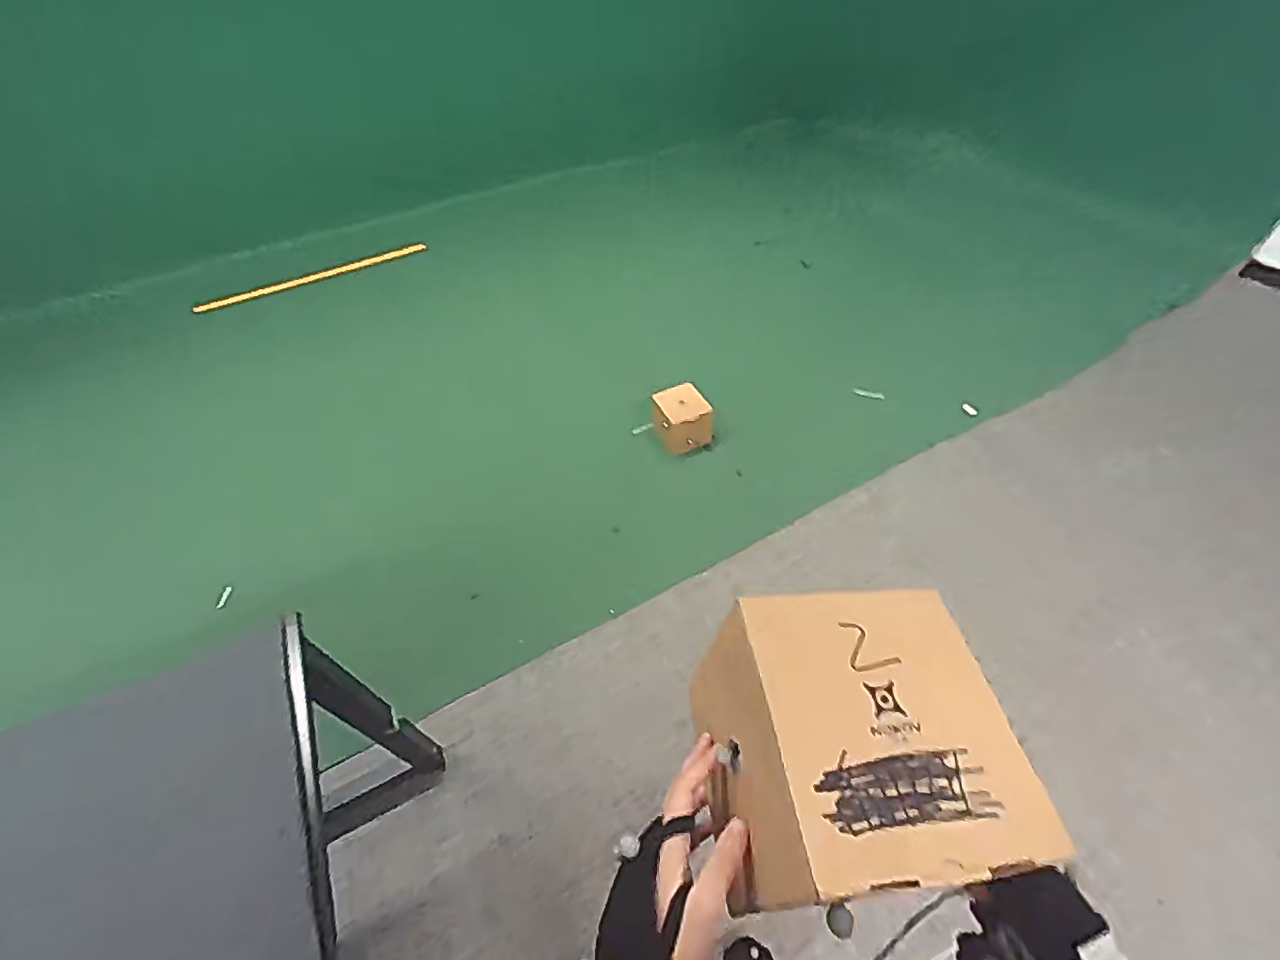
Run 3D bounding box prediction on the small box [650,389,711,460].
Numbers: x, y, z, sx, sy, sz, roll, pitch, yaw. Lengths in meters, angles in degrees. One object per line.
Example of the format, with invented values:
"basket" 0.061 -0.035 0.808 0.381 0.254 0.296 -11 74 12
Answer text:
"small box" 0.148 -0.207 2.026 0.168 0.176 0.179 -22 52 -15
